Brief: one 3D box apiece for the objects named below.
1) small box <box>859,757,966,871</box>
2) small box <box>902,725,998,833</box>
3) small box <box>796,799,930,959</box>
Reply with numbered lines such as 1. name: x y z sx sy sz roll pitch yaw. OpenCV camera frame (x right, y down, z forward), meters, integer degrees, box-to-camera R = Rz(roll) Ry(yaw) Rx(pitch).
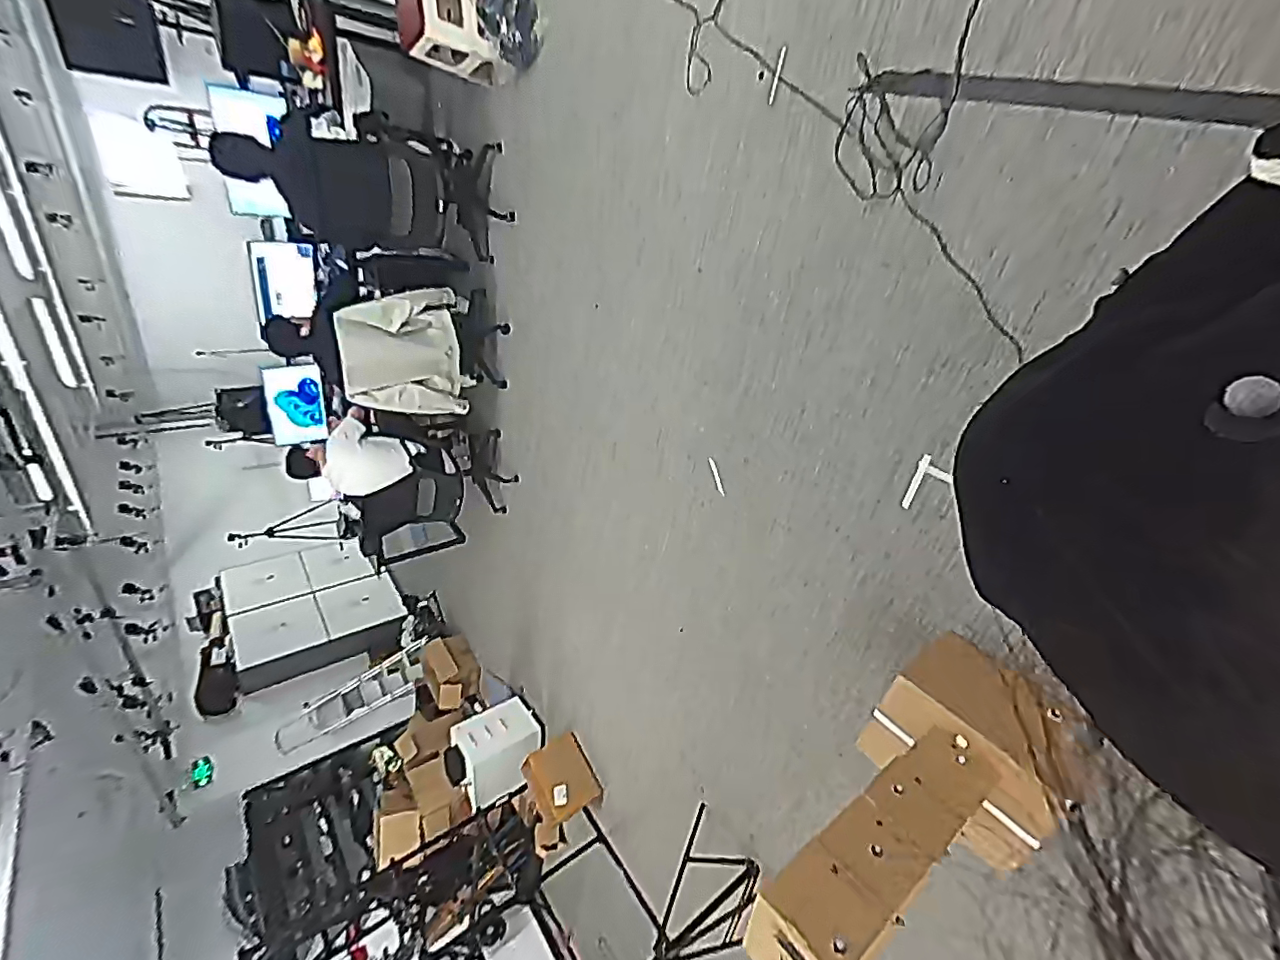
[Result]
1. small box: 0.570 0.748 1.172 0.168 0.176 0.179 37 129 42
2. small box: 0.698 0.722 1.269 0.168 0.176 0.179 37 128 40
3. small box: 0.444 0.785 1.073 0.168 0.176 0.179 32 125 44
